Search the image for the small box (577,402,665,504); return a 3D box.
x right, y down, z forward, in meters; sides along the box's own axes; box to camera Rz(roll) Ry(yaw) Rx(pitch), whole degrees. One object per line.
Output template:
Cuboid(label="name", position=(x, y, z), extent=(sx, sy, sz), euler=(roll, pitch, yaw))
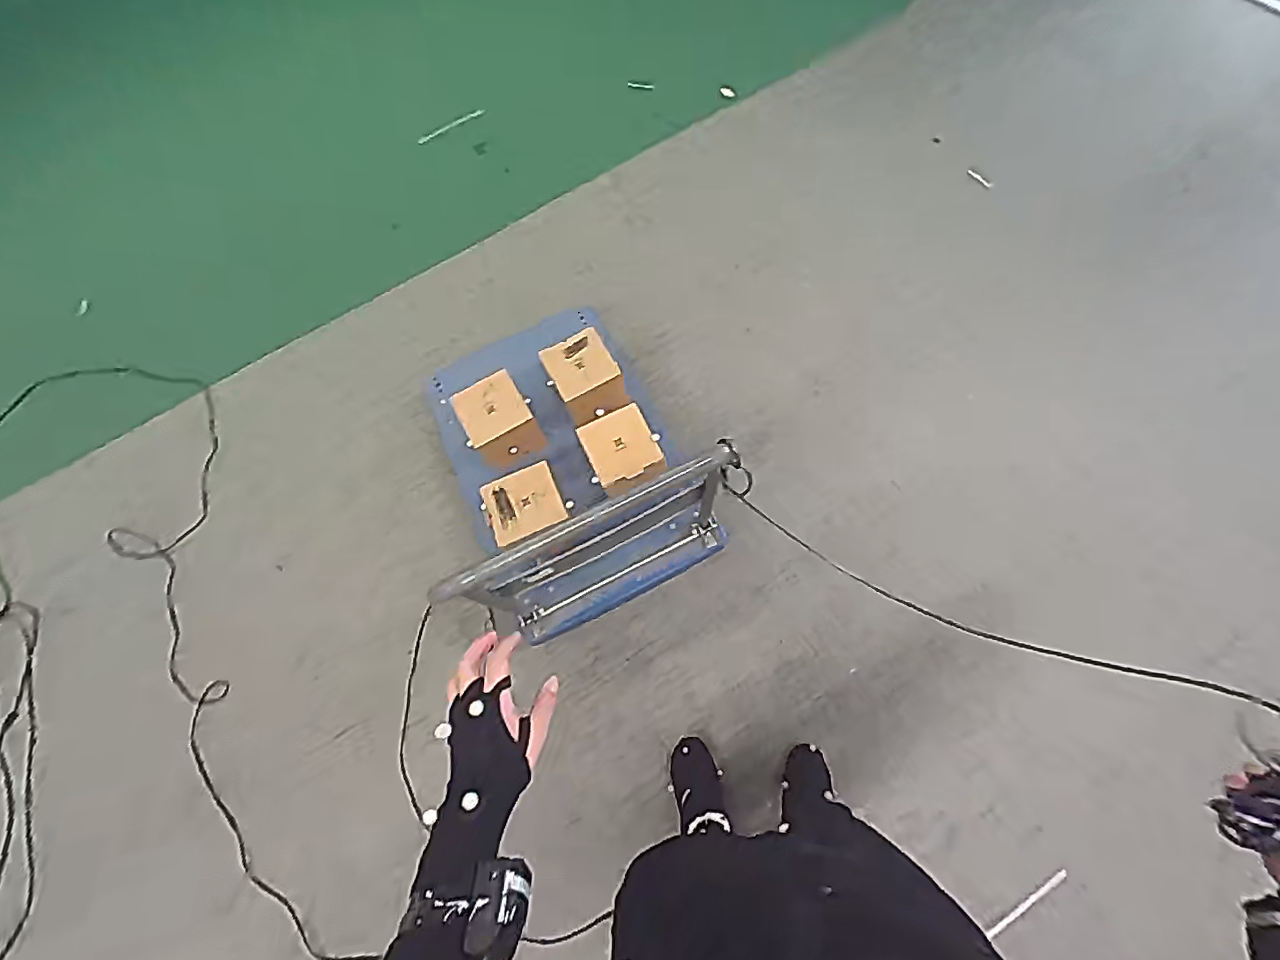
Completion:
Cuboid(label="small box", position=(-0.045, -0.064, 1.390), extent=(0.168, 0.176, 0.179), euler=(-25, 70, -5))

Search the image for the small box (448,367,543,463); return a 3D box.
Cuboid(label="small box", position=(-0.379, -0.164, 1.452), extent=(0.168, 0.176, 0.179), euler=(-29, 70, -7))

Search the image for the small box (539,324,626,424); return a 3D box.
Cuboid(label="small box", position=(-0.153, -0.283, 1.476), extent=(0.168, 0.176, 0.179), euler=(-28, 71, -5))
